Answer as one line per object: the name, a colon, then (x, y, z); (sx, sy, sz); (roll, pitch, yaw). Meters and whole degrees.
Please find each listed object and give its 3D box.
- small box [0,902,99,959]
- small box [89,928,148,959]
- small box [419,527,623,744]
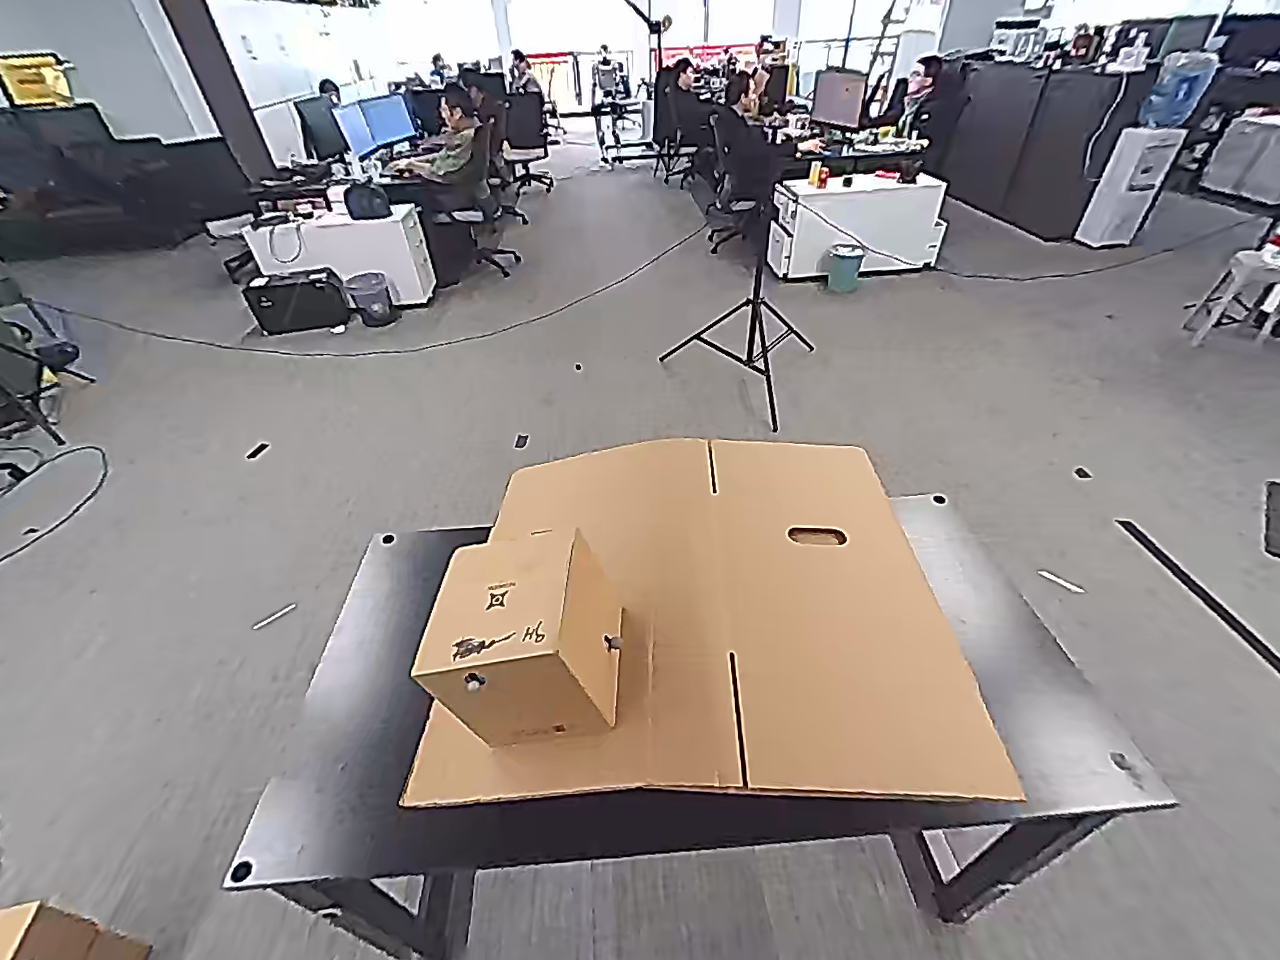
small box: (-1.159, 0.909, 0.980); (0.168, 0.176, 0.179); (-8, 39, -7)
small box: (-1.149, 1.037, 1.080); (0.168, 0.176, 0.179); (-7, 41, -4)
small box: (-0.125, 0.187, 0.651); (0.168, 0.176, 0.179); (-14, 38, 13)
